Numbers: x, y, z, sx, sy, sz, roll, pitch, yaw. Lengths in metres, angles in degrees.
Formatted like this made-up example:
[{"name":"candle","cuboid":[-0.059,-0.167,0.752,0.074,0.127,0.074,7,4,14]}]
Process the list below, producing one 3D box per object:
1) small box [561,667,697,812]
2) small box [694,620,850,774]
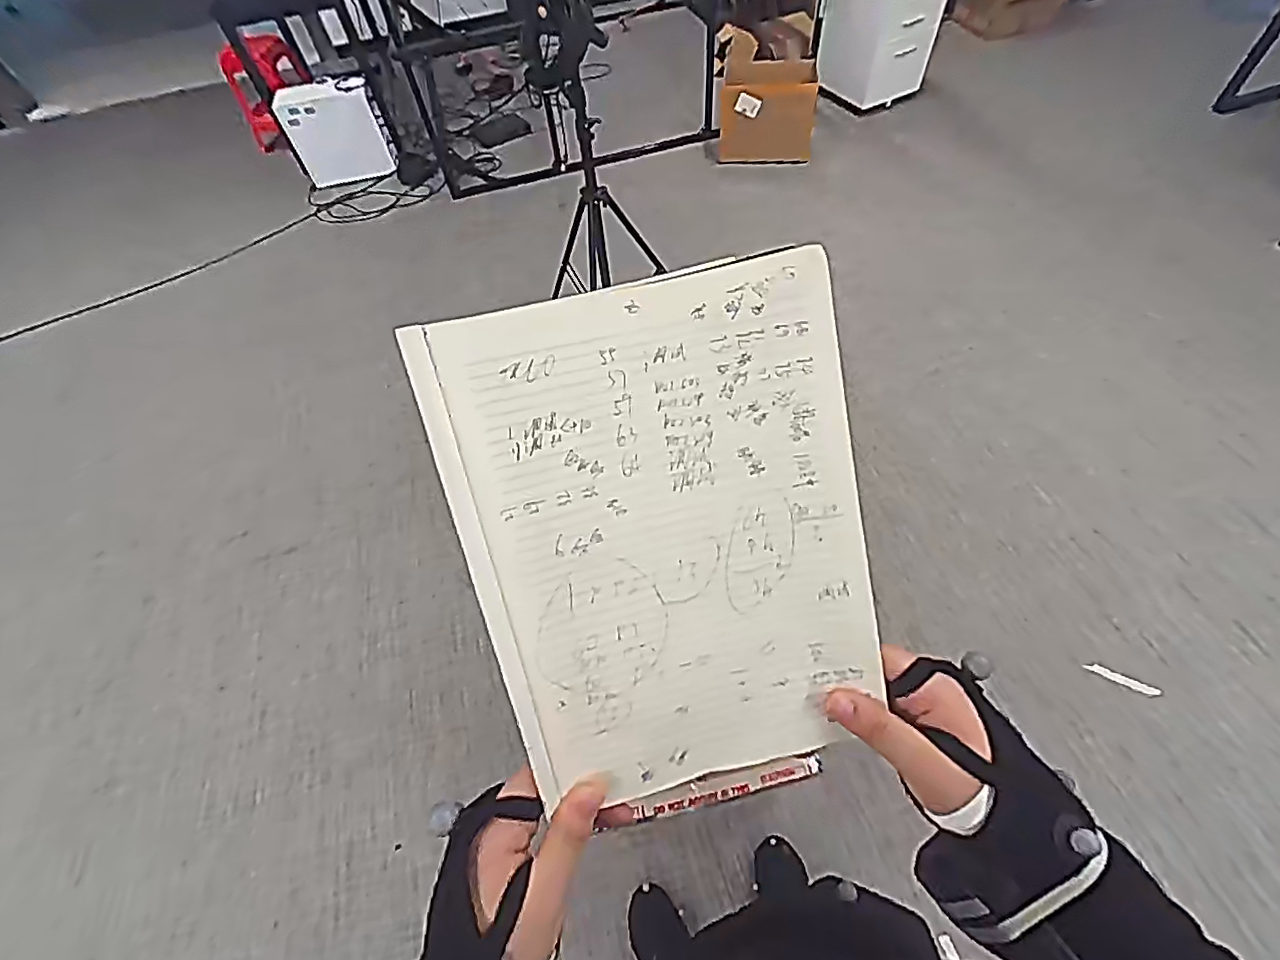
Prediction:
[{"name":"small box","cuboid":[-0.014,0.402,0.834,0.179,0.176,0.168,-11,58,0]},{"name":"small box","cuboid":[0.194,0.346,0.855,0.179,0.176,0.168,-16,58,-7]}]
